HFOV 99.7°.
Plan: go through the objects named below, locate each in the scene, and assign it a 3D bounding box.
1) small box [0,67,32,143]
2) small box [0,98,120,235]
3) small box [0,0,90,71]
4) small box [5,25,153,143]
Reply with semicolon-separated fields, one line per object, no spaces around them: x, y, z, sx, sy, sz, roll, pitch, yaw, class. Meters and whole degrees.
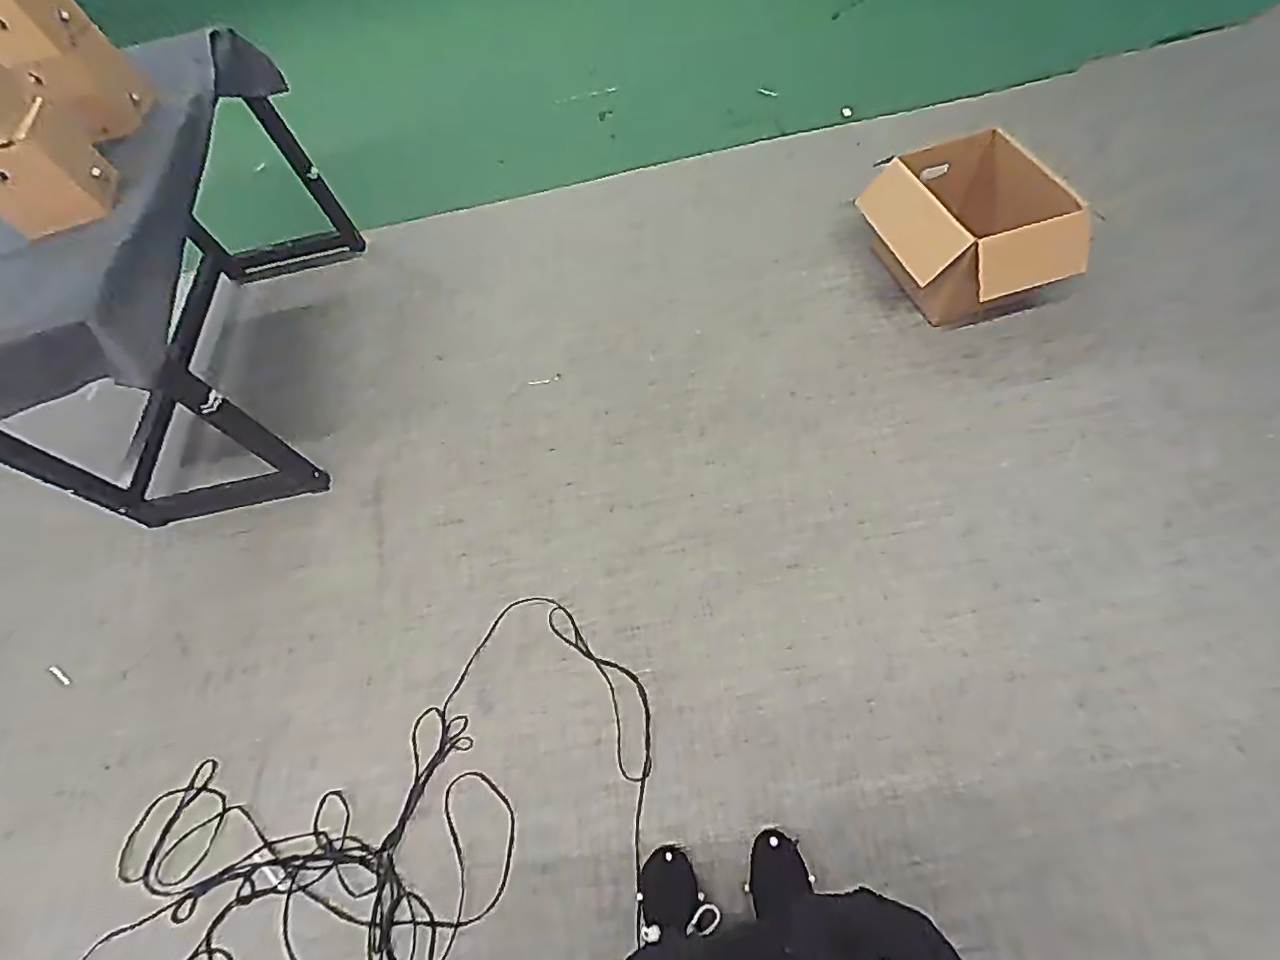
-1.295;-0.722;0.988;0.168;0.176;0.179;-16;60;-2;small box
-1.259;-0.646;1.127;0.179;0.176;0.168;-20;61;-3;small box
-1.368;-1.028;1.159;0.168;0.176;0.179;-10;61;3;small box
-1.343;-0.950;1.307;0.168;0.176;0.179;-11;60;3;small box
